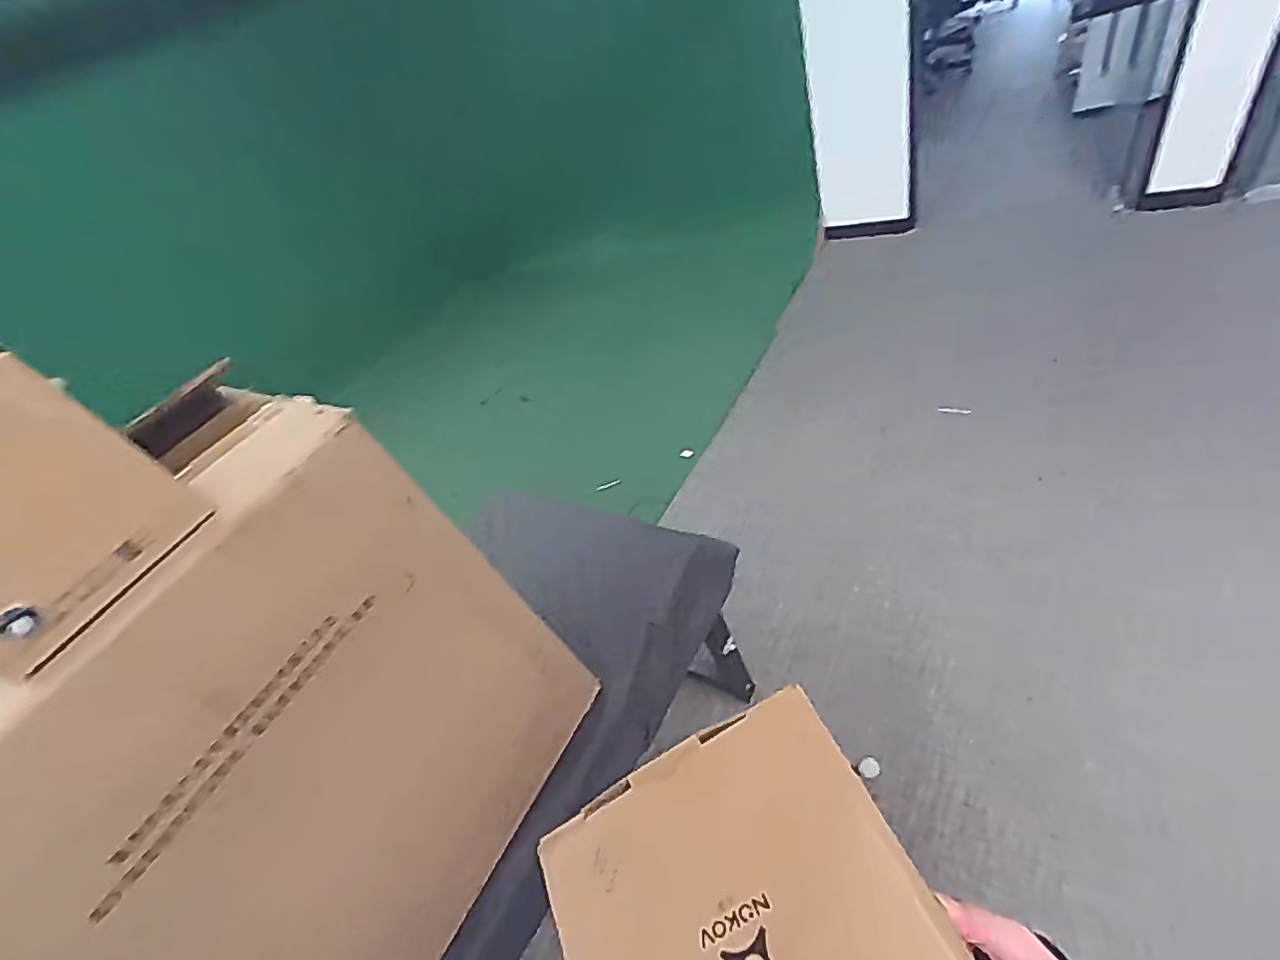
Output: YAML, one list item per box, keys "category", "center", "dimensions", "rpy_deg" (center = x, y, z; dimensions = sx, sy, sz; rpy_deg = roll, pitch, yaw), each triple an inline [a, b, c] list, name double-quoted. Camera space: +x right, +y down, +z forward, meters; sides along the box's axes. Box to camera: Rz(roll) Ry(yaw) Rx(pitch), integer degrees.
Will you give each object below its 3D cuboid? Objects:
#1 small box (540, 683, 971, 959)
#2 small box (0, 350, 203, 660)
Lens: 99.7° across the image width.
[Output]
- category: "small box"
  center: [0.075, 0.248, 0.301]
  dimensions: [0.168, 0.176, 0.179]
  rpy_deg: [-33, 52, 2]
- category: "small box"
  center: [-0.500, 0.015, 0.420]
  dimensions: [0.179, 0.176, 0.168]
  rpy_deg: [10, 52, 34]
